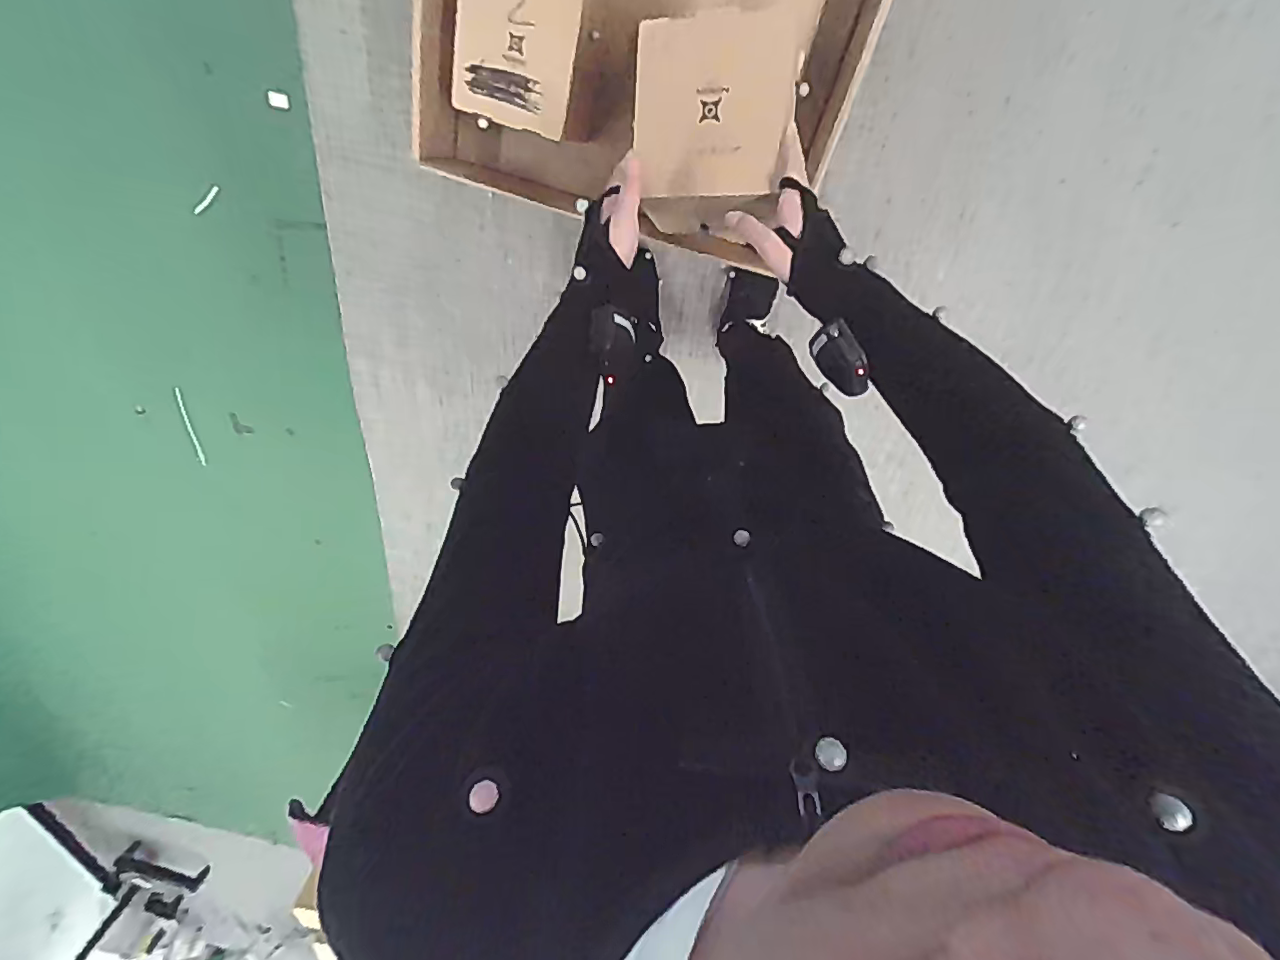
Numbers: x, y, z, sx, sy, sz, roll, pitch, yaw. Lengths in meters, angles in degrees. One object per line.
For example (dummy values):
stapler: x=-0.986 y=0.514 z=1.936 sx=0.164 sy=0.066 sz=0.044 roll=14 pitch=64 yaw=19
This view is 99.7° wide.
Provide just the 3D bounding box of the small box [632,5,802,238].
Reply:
small box: x=0.094 y=-0.403 z=0.639 sx=0.168 sy=0.176 sz=0.179 roll=6 pitch=101 yaw=14

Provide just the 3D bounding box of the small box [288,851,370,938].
small box: x=-1.033 y=1.390 z=1.815 sx=0.168 sy=0.176 sz=0.179 roll=11 pitch=124 yaw=1
